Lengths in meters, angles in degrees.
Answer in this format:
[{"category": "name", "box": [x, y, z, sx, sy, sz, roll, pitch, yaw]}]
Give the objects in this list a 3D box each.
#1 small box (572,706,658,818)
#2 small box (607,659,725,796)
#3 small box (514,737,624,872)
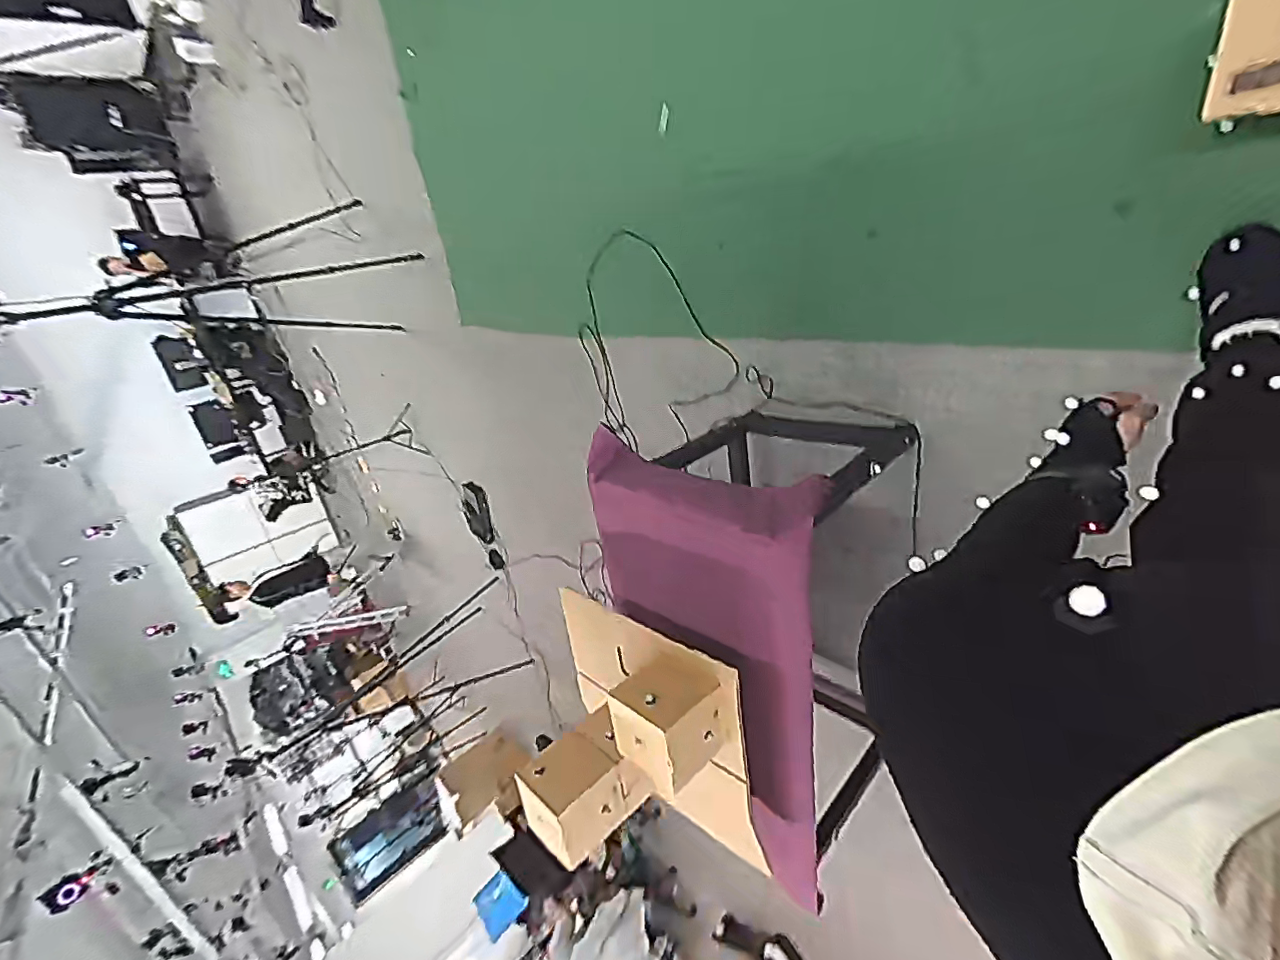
[{"category": "small box", "box": [-0.041, 0.678, 1.346, 0.179, 0.176, 0.168, 12, 117, 46]}, {"category": "small box", "box": [0.058, 0.509, 1.146, 0.179, 0.176, 0.168, 12, 118, 45]}, {"category": "small box", "box": [-0.161, 0.731, 1.246, 0.179, 0.176, 0.168, 12, 118, 45]}]
